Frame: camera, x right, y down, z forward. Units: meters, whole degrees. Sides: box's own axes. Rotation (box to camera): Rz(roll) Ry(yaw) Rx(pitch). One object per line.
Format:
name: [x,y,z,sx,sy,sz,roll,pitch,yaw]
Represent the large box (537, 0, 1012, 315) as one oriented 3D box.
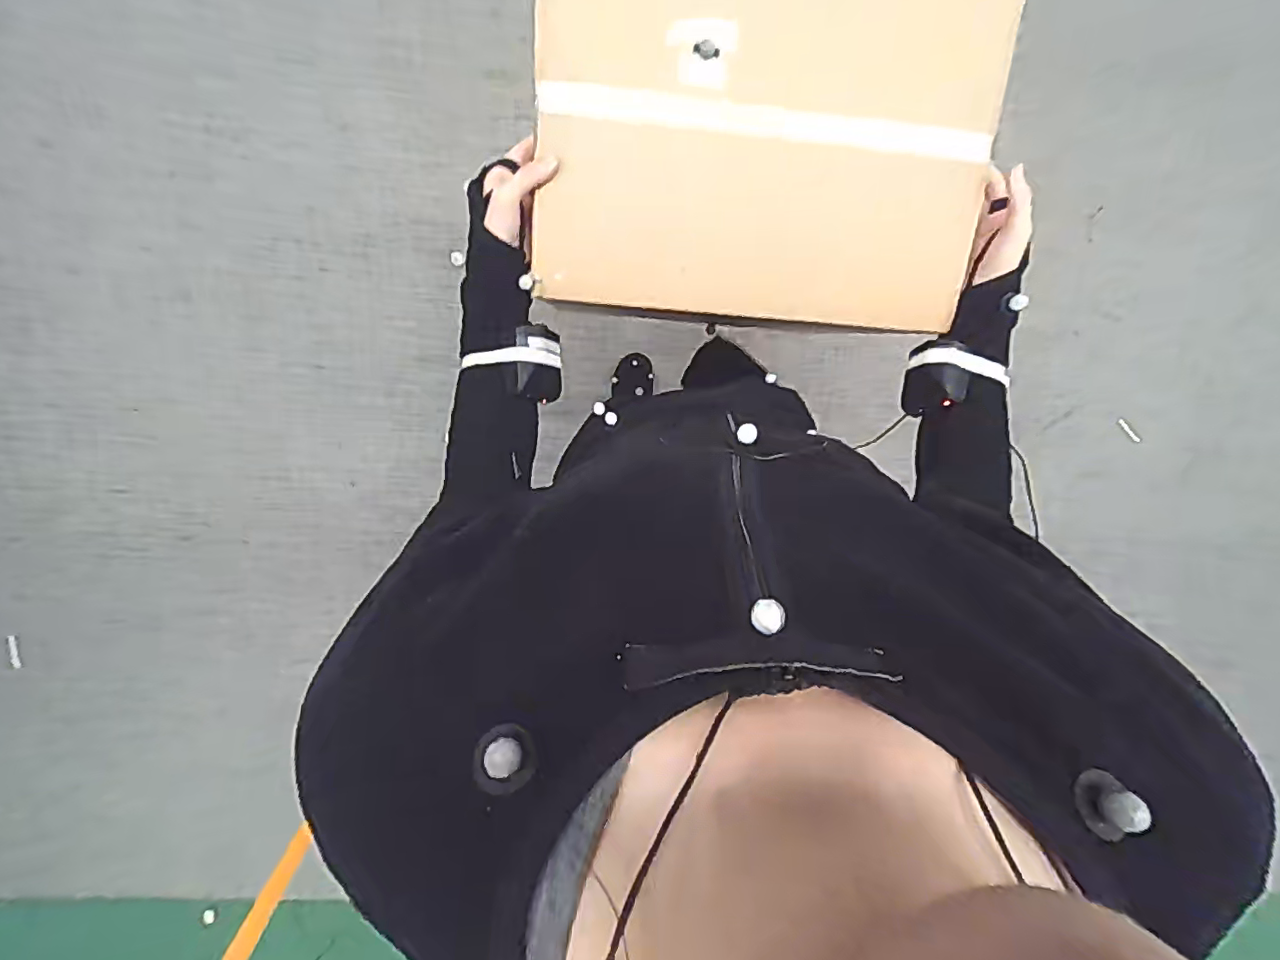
large box: [0.105,-0.363,0.618,0.408,0.320,0.320,4,105,-5]
